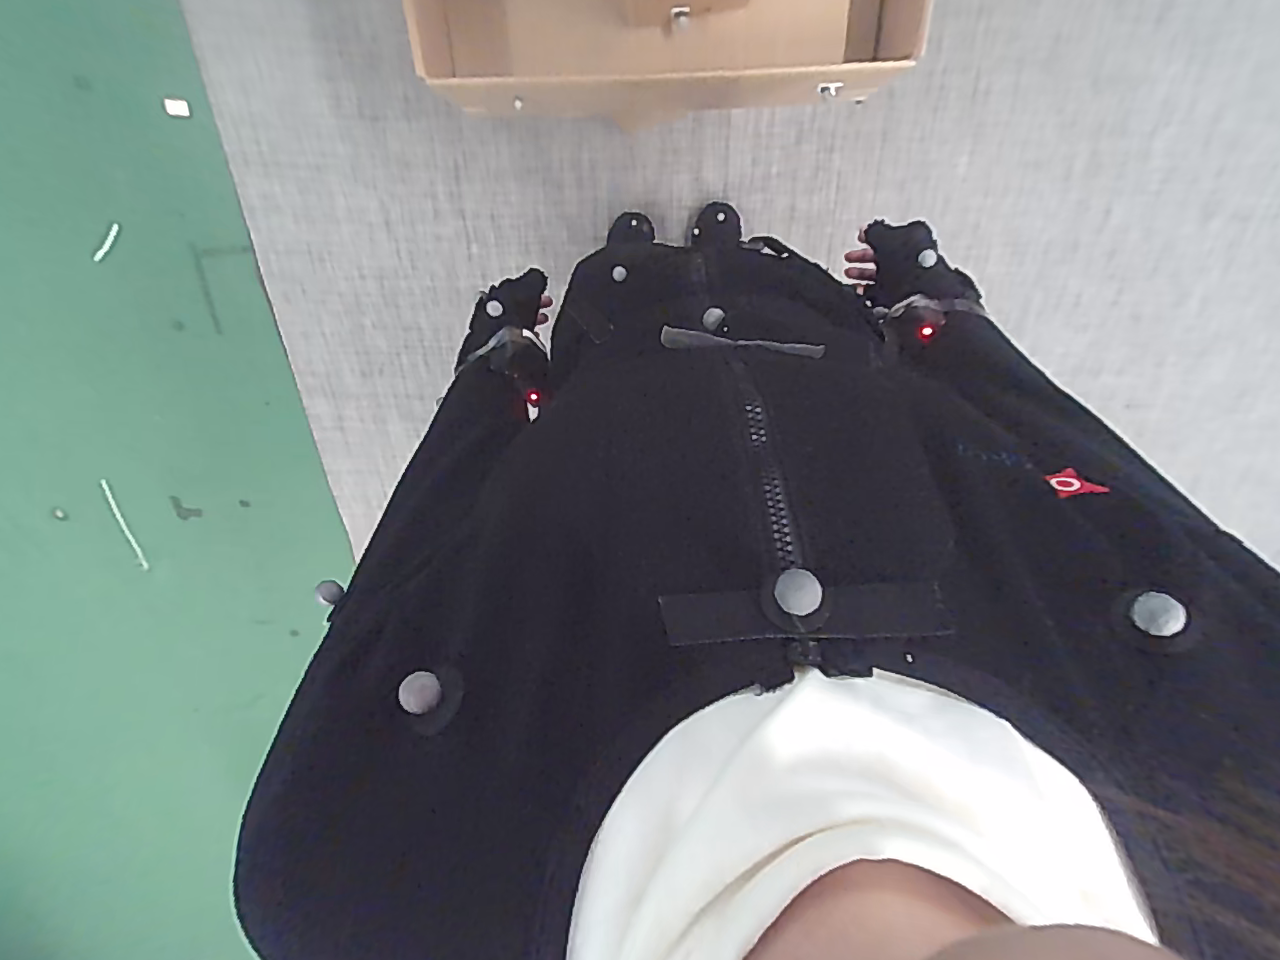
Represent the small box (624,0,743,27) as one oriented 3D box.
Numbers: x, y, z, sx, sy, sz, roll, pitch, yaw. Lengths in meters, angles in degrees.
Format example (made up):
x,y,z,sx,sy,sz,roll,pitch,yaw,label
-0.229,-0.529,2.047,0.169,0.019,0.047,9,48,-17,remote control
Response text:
x,y,z,sx,sy,sz,roll,pitch,yaw,label
0.049,-0.676,0.634,0.168,0.176,0.179,-6,117,6,small box
